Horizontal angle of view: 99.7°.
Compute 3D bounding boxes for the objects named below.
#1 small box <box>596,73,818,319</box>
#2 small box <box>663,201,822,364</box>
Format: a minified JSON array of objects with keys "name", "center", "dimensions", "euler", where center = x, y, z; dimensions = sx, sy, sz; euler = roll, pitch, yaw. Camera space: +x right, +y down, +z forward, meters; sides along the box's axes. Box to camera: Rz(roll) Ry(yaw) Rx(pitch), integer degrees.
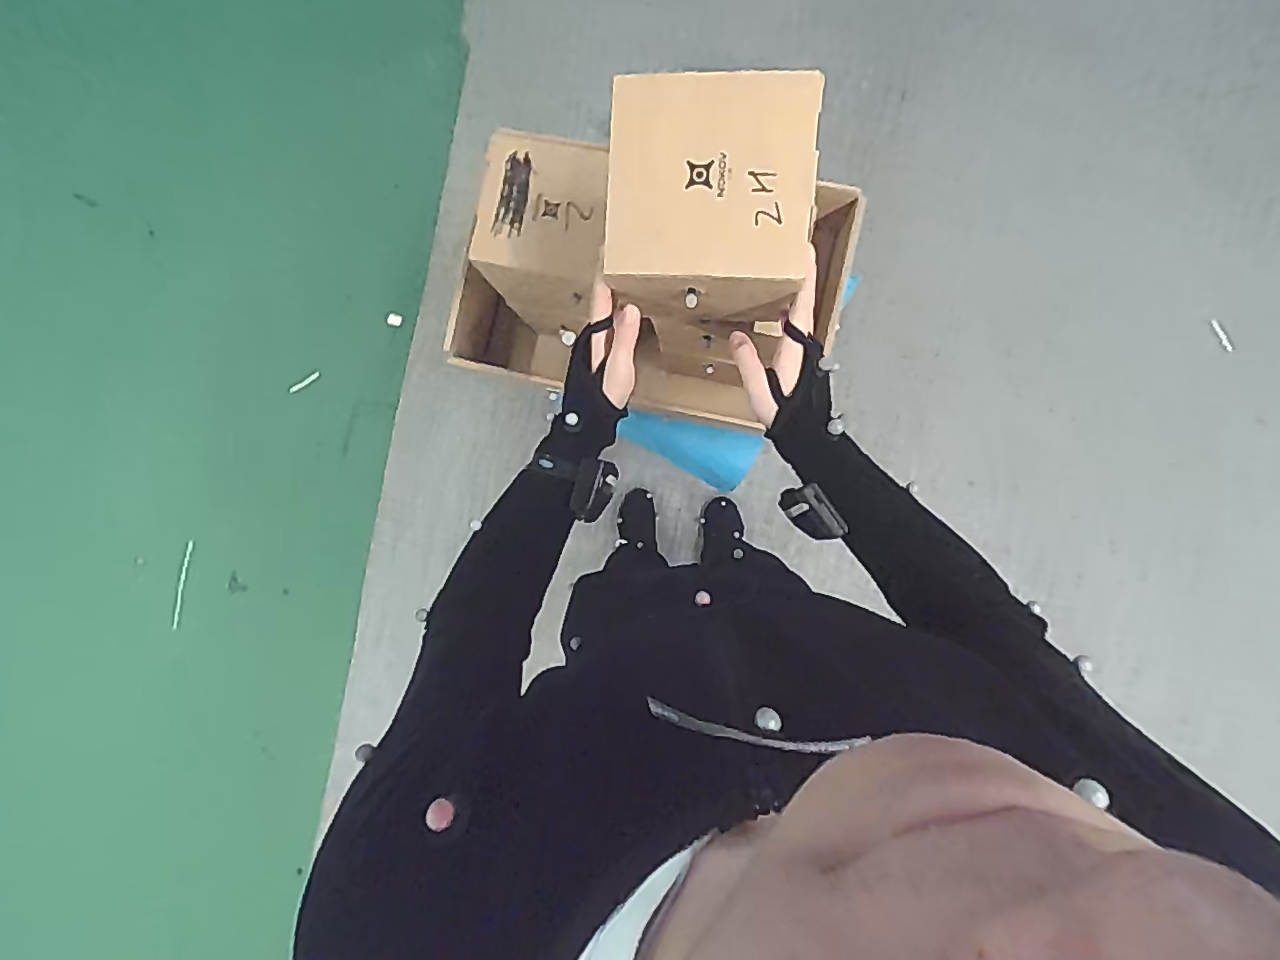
[{"name":"small box","center":[0.064,-0.259,0.532],"dimensions":[0.179,0.176,0.168],"euler":[4,96,7]},{"name":"small box","center":[0.130,-0.267,0.739],"dimensions":[0.179,0.176,0.168],"euler":[13,92,9]}]
